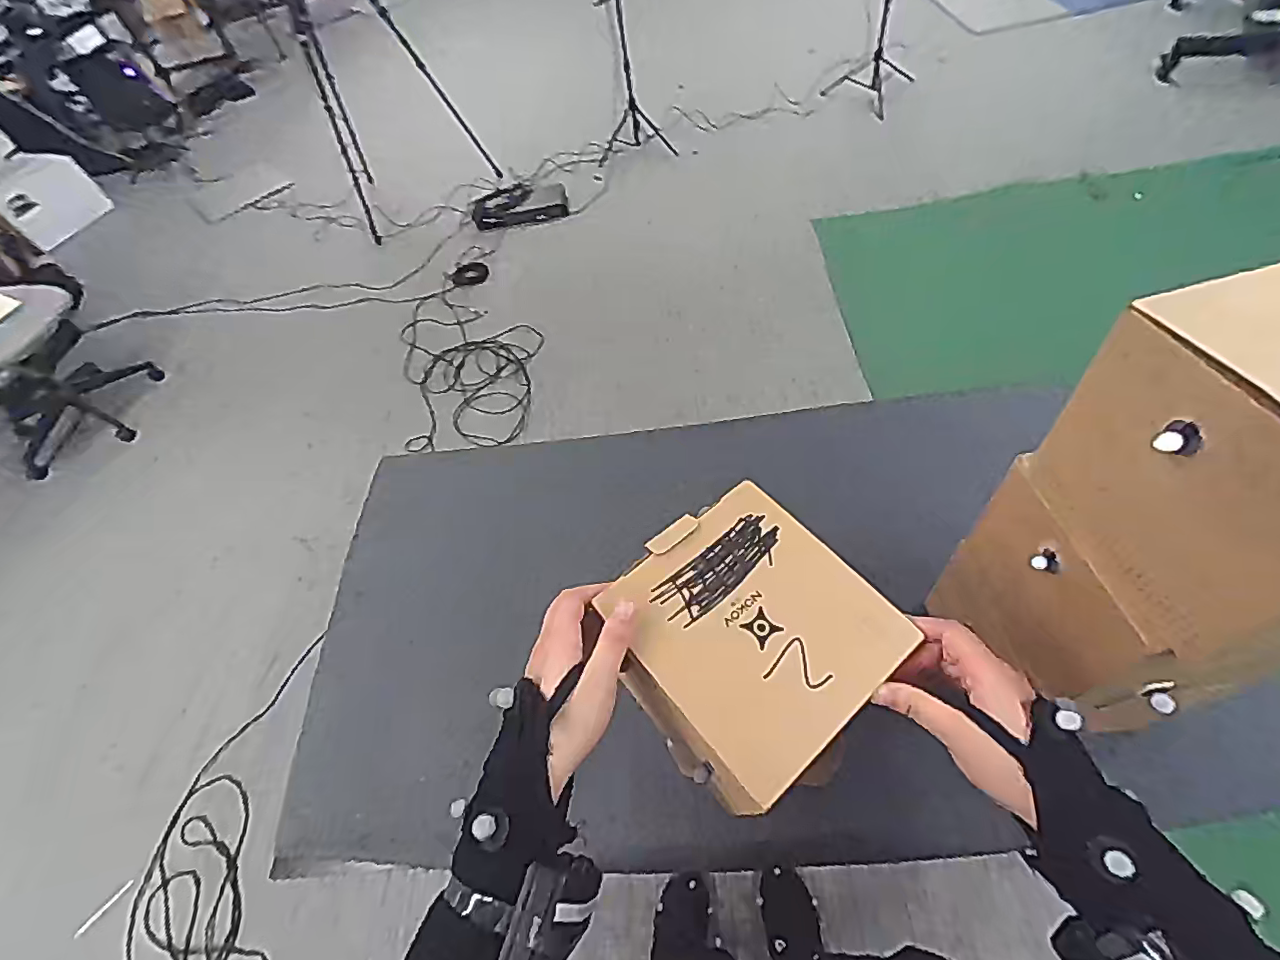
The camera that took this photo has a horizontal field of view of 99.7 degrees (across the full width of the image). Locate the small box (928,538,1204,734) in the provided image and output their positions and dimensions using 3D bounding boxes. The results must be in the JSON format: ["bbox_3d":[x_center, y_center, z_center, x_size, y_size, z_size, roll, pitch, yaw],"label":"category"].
[{"bbox_3d":[0.449,0.170,0.597,0.168,0.176,0.179,-8,52,6],"label":"small box"}]

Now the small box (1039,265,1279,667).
[{"bbox_3d":[0.397,-0.012,0.329,0.168,0.176,0.179,-15,52,3],"label":"small box"}]

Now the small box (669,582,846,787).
[{"bbox_3d":[0.126,0.233,0.616,0.168,0.176,0.179,-1,53,10],"label":"small box"}]

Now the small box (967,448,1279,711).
[{"bbox_3d":[0.420,0.078,0.465,0.168,0.176,0.179,-11,53,4],"label":"small box"}]
